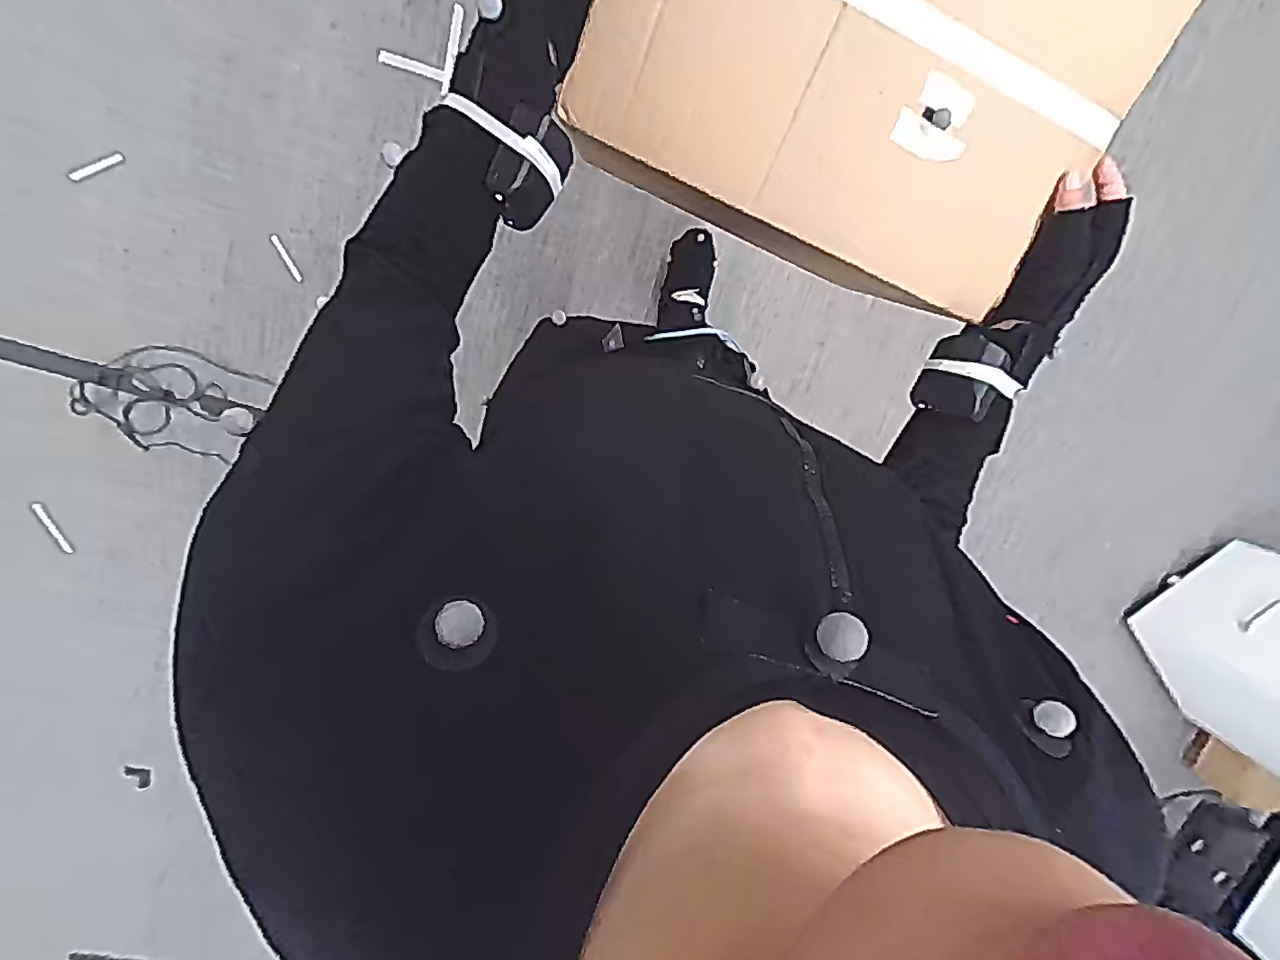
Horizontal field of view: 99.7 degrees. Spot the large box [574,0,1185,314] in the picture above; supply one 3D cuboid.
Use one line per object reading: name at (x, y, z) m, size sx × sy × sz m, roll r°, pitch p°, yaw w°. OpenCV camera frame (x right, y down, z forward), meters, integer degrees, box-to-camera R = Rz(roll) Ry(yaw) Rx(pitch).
large box at (0.177, -0.405, 0.533) m, size 0.408 × 0.320 × 0.320 m, roll 20°, pitch 114°, yaw -12°
